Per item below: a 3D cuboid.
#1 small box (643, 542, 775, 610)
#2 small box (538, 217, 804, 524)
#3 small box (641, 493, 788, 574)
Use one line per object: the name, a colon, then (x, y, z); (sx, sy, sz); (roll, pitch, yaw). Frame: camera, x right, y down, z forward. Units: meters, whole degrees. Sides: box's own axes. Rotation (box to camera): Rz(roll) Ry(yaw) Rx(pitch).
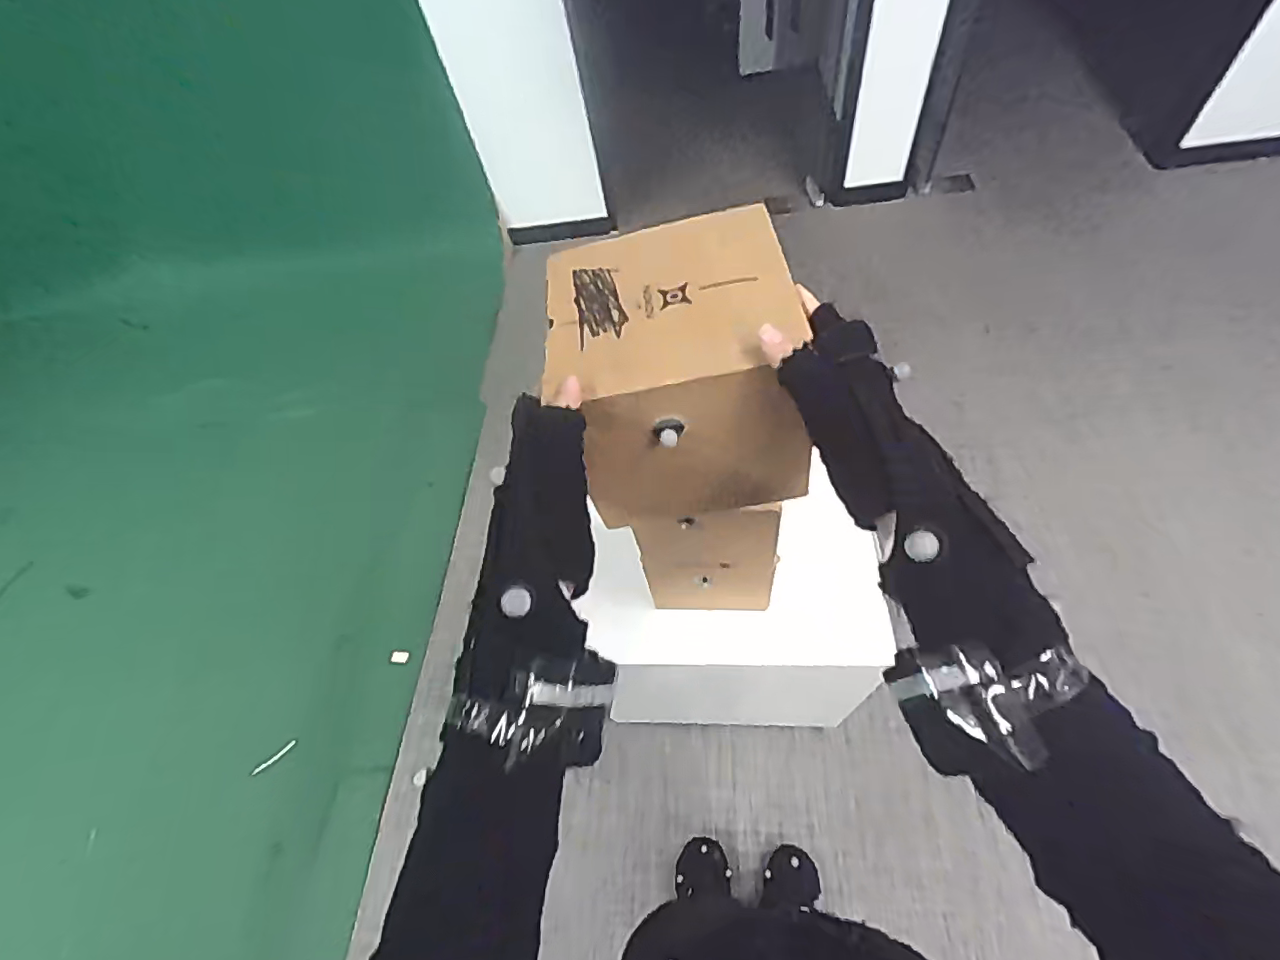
small box: (0.107, 0.092, 0.817); (0.179, 0.176, 0.168); (-1, 58, 9)
small box: (0.029, -0.079, 0.449); (0.179, 0.176, 0.168); (-10, 56, 7)
small box: (0.087, 0.006, 0.683); (0.168, 0.176, 0.179); (-2, 58, 8)
